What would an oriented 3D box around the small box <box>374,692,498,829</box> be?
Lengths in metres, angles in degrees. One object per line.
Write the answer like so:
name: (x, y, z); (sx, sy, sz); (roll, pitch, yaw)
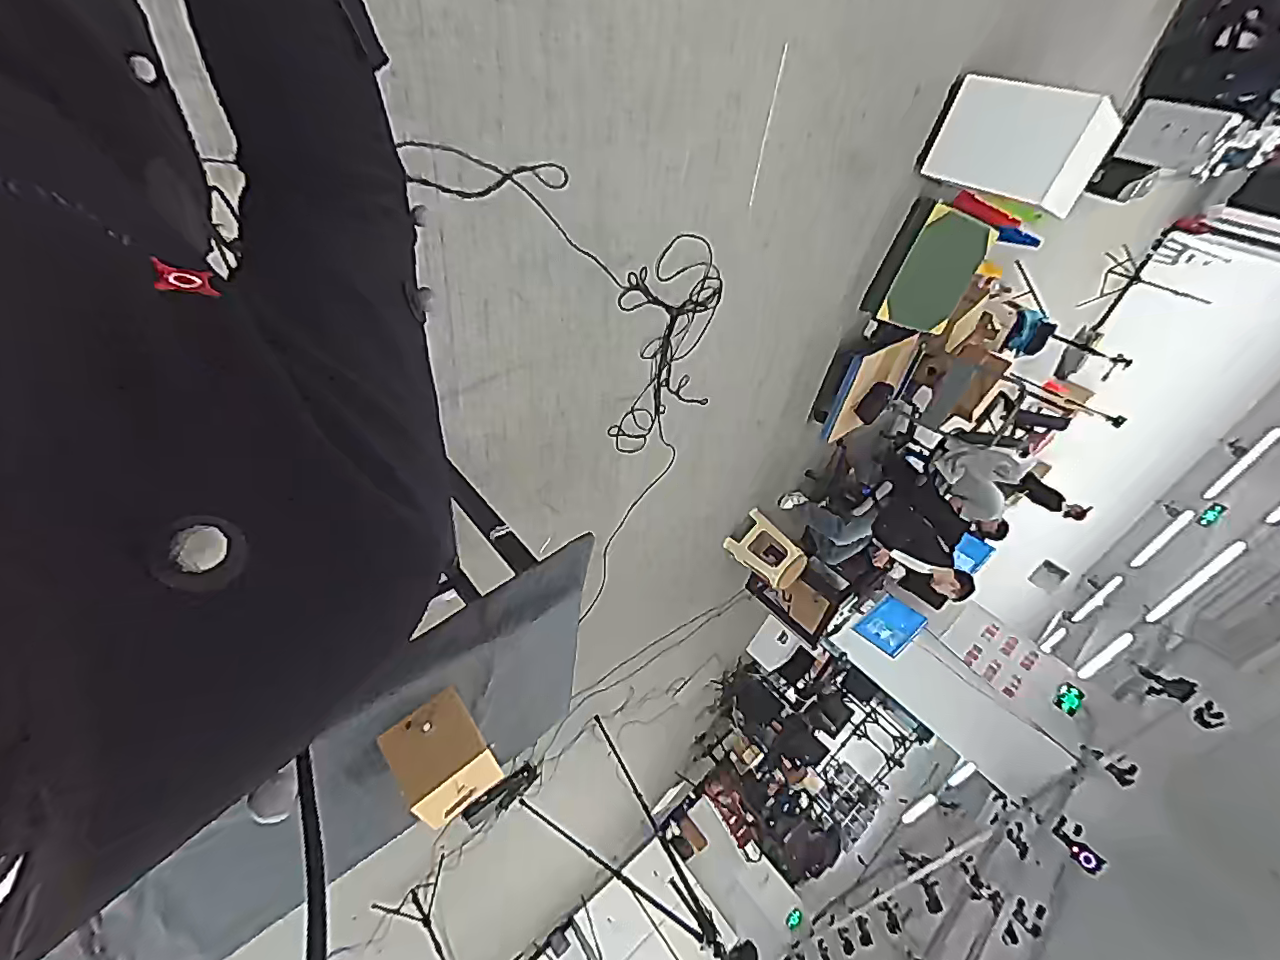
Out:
small box: (-0.423, 0.581, 1.131); (0.168, 0.176, 0.179); (-32, 144, -27)
